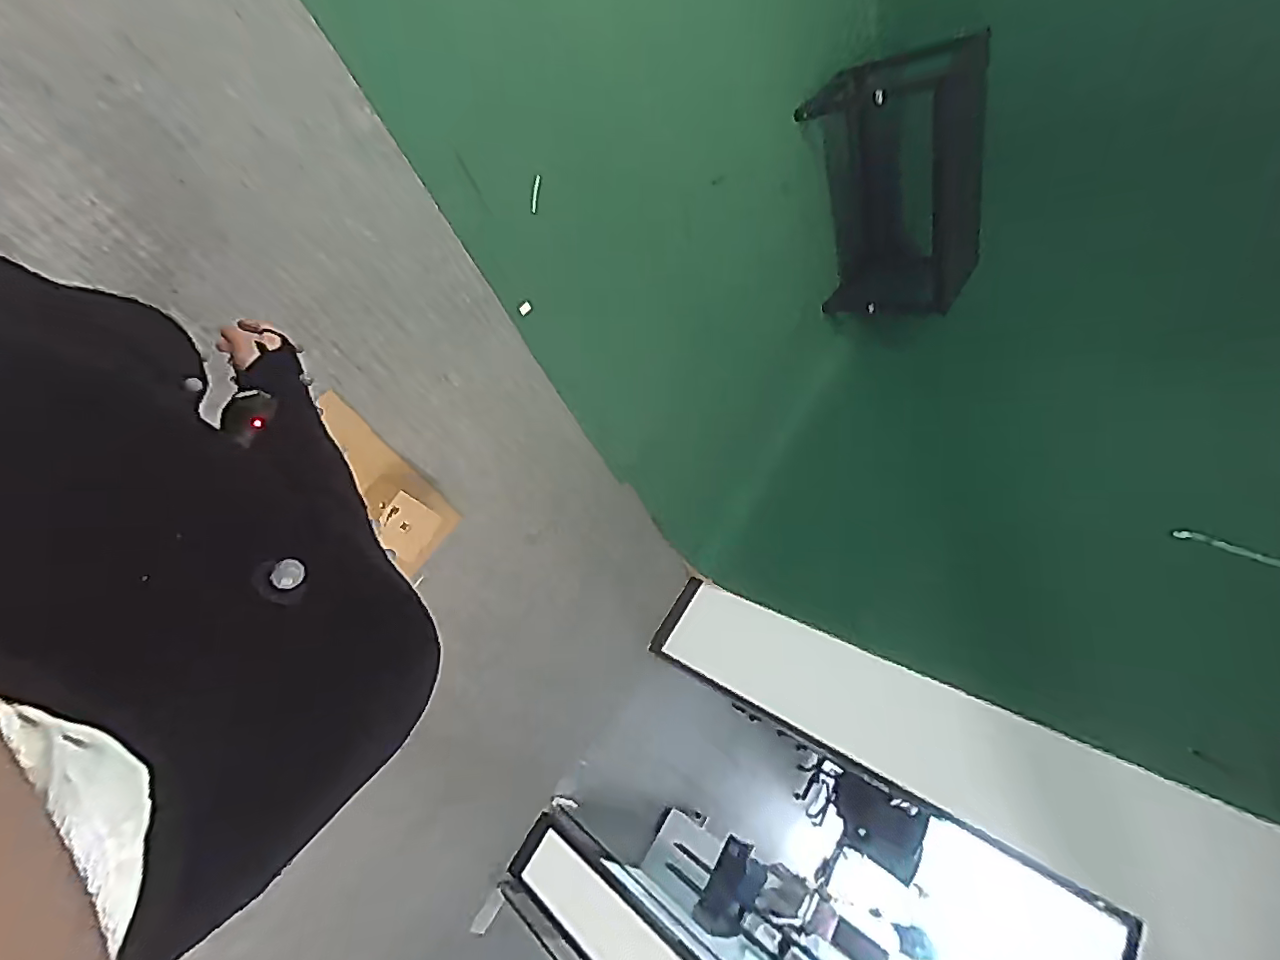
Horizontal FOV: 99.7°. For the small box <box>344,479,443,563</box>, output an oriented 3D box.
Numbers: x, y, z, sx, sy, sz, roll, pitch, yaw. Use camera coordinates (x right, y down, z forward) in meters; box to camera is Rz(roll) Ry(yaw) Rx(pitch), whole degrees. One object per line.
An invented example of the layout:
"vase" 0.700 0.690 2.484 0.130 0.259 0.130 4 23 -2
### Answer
"small box" -0.738 0.118 1.621 0.168 0.176 0.179 -57 139 -16
